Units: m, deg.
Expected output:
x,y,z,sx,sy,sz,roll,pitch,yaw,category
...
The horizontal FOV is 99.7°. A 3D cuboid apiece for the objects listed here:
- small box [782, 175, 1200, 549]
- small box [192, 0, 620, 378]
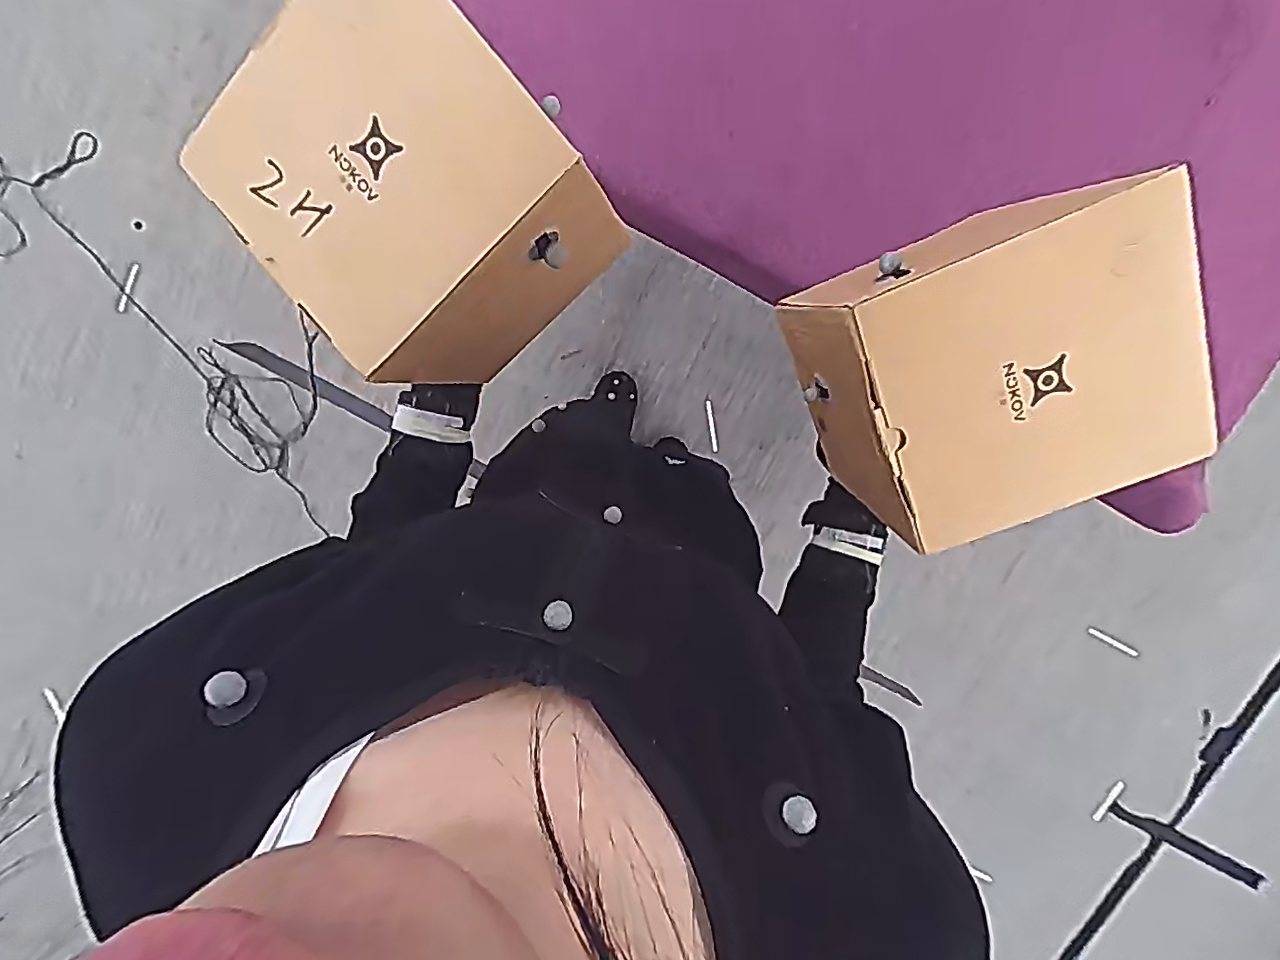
x,y,z,sx,sy,sz,roll,pitch,yaw,category
0.224,-0.084,0.385,0.179,0.176,0.168,-22,107,8,small box
-0.130,-0.189,0.371,0.179,0.176,0.168,-40,92,14,small box
